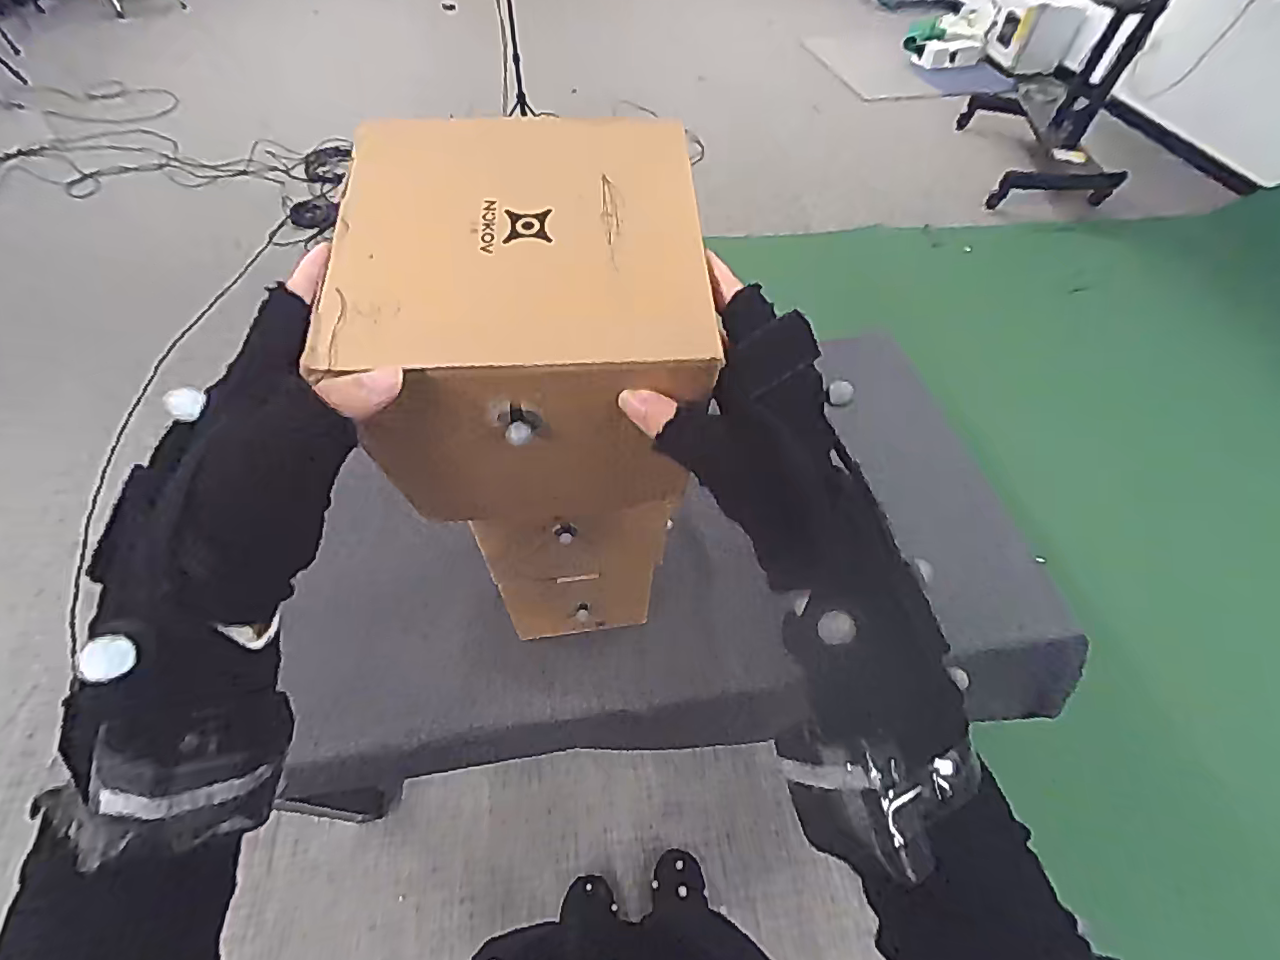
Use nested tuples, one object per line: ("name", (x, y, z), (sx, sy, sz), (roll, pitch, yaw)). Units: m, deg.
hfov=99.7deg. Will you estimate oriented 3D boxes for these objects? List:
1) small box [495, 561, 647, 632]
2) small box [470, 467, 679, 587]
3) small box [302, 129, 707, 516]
("small box", (-0.084, 0.081, 0.682), (0.168, 0.176, 0.179), (-6, 55, -7))
("small box", (-0.072, -0.009, 0.544), (0.179, 0.176, 0.168), (-7, 55, -9))
("small box", (-0.064, -0.083, 0.336), (0.179, 0.176, 0.168), (-3, 65, -4))
